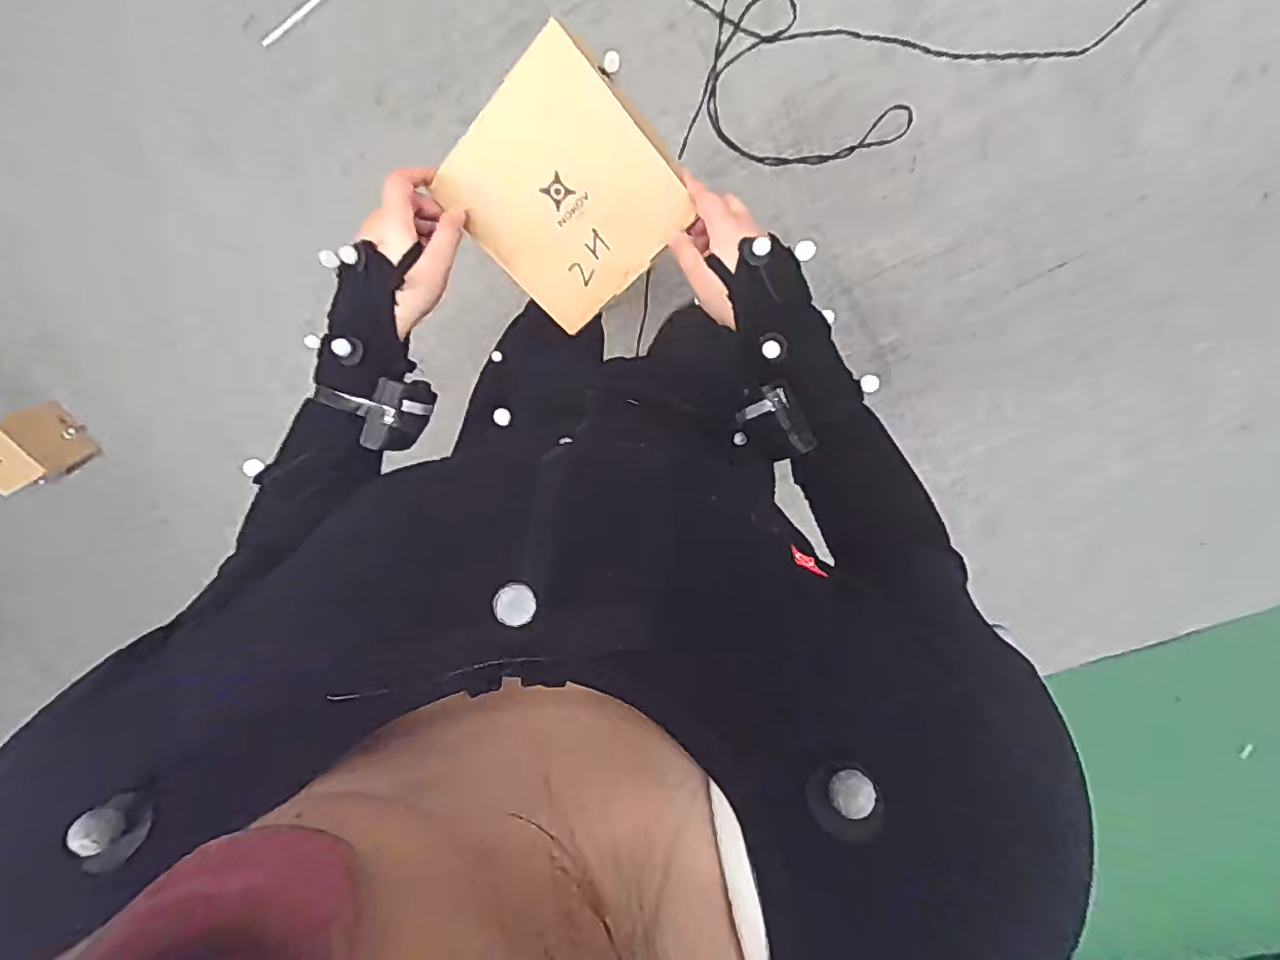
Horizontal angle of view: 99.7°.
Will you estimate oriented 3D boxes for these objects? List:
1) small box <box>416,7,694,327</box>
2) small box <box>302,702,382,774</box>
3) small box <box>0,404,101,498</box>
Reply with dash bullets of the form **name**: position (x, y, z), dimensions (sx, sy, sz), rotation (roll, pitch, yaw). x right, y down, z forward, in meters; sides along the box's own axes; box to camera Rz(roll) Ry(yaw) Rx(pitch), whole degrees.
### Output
- **small box**: position (-0.067, -0.286, 0.514), dimensions (0.168, 0.176, 0.179), rotation (-34, 117, 26)
- **small box**: position (-1.080, 0.942, 1.986), dimensions (0.179, 0.176, 0.168), rotation (-13, 116, 8)
- **small box**: position (-1.667, -0.085, 1.486), dimensions (0.179, 0.176, 0.168), rotation (-24, 115, 13)
